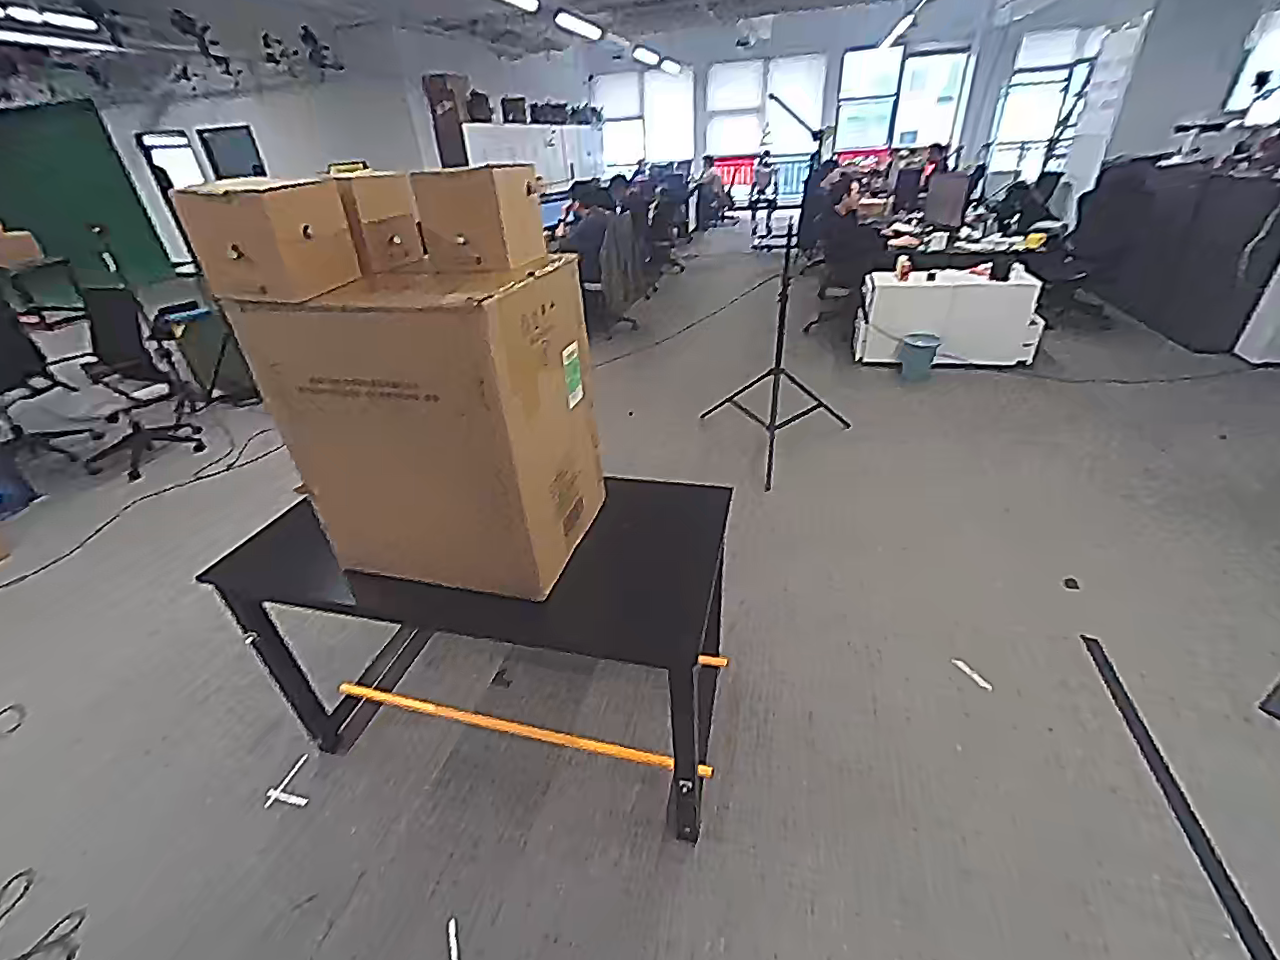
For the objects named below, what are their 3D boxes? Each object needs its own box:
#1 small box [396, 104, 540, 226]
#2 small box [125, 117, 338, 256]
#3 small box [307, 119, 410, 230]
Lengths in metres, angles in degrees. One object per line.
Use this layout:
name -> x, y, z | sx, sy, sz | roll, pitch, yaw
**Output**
small box -> -0.285, -0.545, 0.946 | 0.168, 0.176, 0.179 | 4, 31, 14
small box -> -0.609, -0.456, 0.839 | 0.168, 0.176, 0.179 | 6, 37, 8
small box -> -0.565, -0.565, 1.007 | 0.179, 0.176, 0.168 | 7, 33, 14
